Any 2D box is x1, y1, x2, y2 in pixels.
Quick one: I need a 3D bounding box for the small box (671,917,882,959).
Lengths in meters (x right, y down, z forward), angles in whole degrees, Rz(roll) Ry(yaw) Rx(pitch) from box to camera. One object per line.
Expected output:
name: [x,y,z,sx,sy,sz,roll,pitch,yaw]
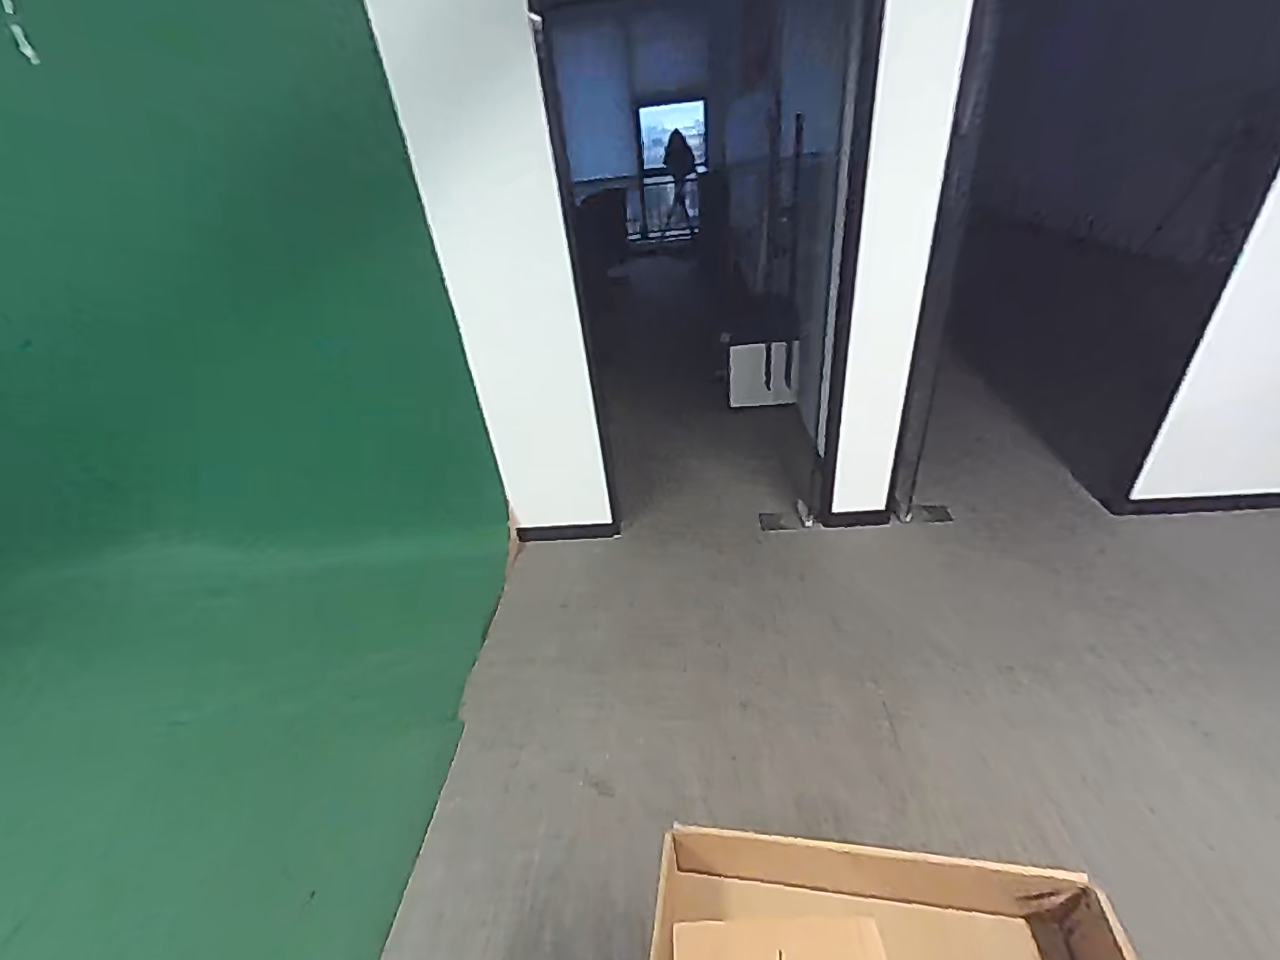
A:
small box: [0.117,0.477,0.427,0.168,0.176,0.179,-6,39,4]
